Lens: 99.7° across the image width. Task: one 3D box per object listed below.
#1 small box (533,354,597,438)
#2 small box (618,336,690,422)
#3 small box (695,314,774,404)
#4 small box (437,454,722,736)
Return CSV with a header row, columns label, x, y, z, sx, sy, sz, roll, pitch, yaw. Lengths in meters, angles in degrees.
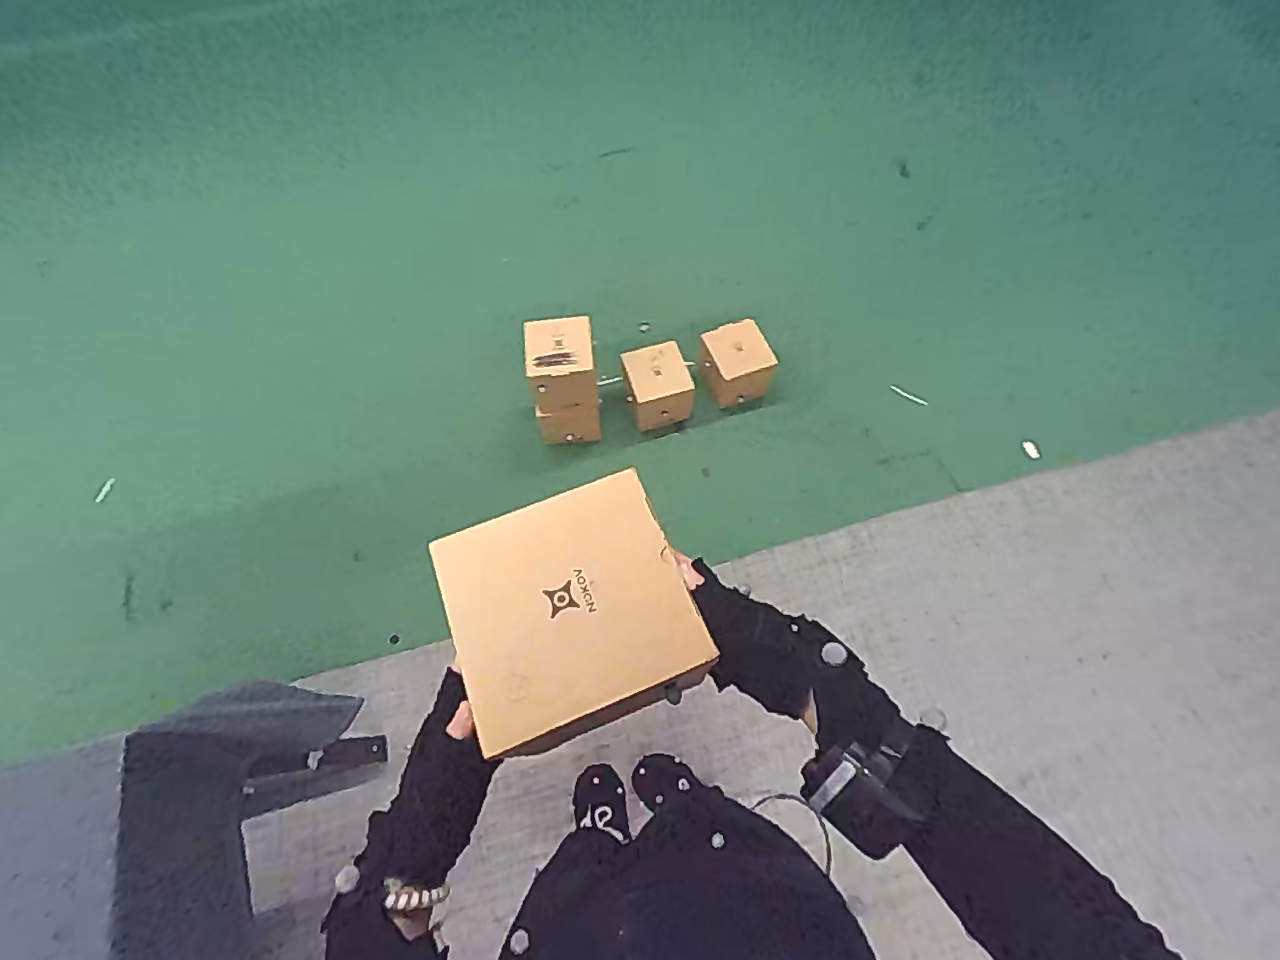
label,x,y,z,sx,sy,sz,roll,pitch,yaw
small box,-0.214,-0.240,1.566,0.168,0.176,0.179,-5,68,-2
small box,0.039,-0.288,1.589,0.168,0.176,0.179,-16,67,-8
small box,0.274,-0.359,1.624,0.168,0.176,0.179,-19,68,-8
small box,-0.049,0.108,0.468,0.179,0.176,0.168,-19,65,-10
